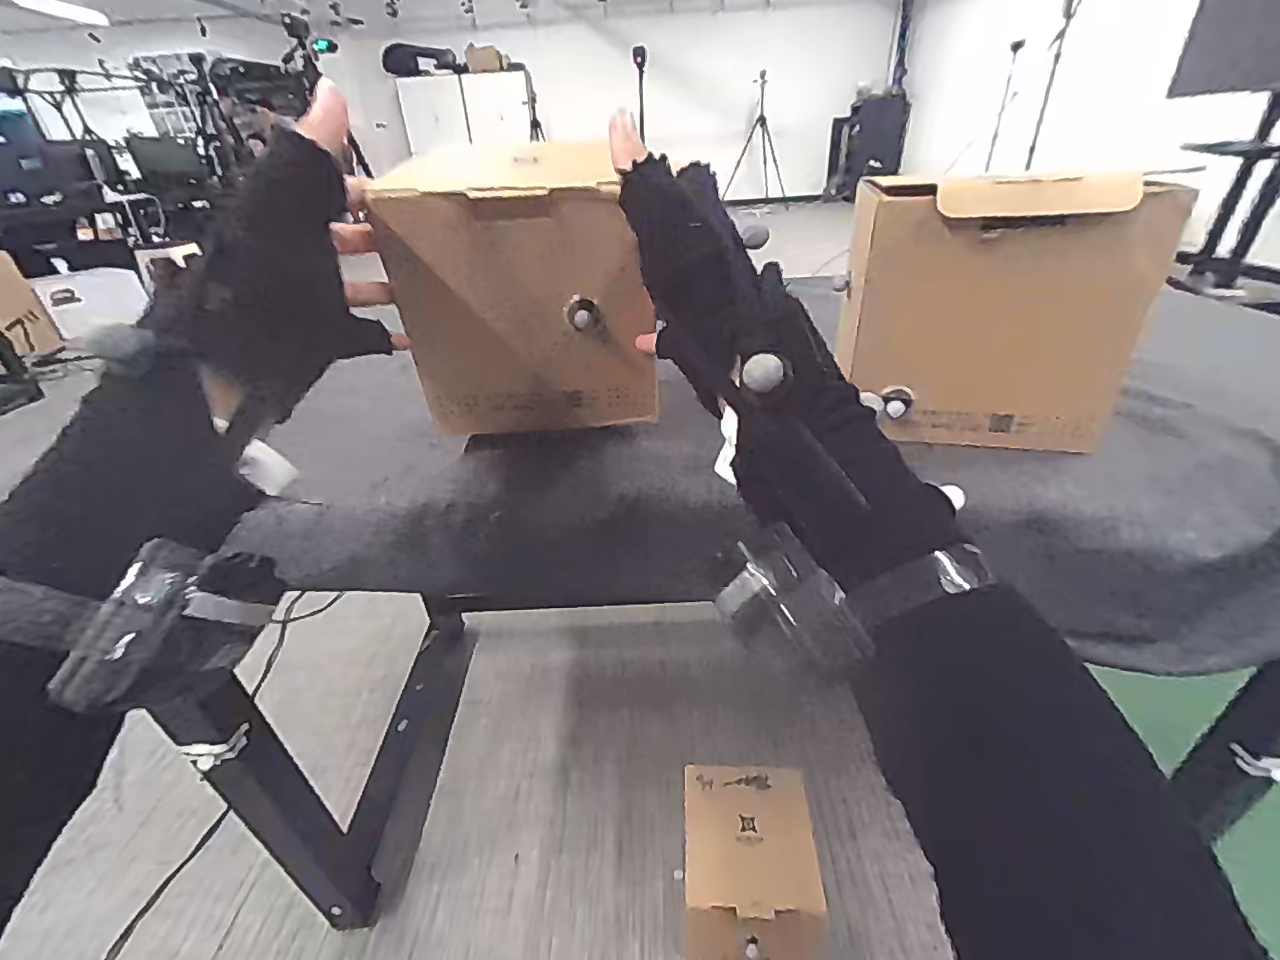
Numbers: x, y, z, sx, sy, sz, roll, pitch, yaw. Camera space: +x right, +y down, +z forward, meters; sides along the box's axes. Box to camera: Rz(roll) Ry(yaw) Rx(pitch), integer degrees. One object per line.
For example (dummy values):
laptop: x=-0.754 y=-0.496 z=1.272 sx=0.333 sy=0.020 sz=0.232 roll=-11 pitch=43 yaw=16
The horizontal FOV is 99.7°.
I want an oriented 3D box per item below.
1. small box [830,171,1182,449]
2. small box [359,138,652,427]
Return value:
small box: x=0.246 y=-0.136 z=0.423 sx=0.168 sy=0.176 sz=0.179 roll=5 pitch=32 yaw=15
small box: x=-0.078 y=-0.150 z=0.417 sx=0.168 sy=0.176 sz=0.179 roll=-2 pitch=38 yaw=-1
